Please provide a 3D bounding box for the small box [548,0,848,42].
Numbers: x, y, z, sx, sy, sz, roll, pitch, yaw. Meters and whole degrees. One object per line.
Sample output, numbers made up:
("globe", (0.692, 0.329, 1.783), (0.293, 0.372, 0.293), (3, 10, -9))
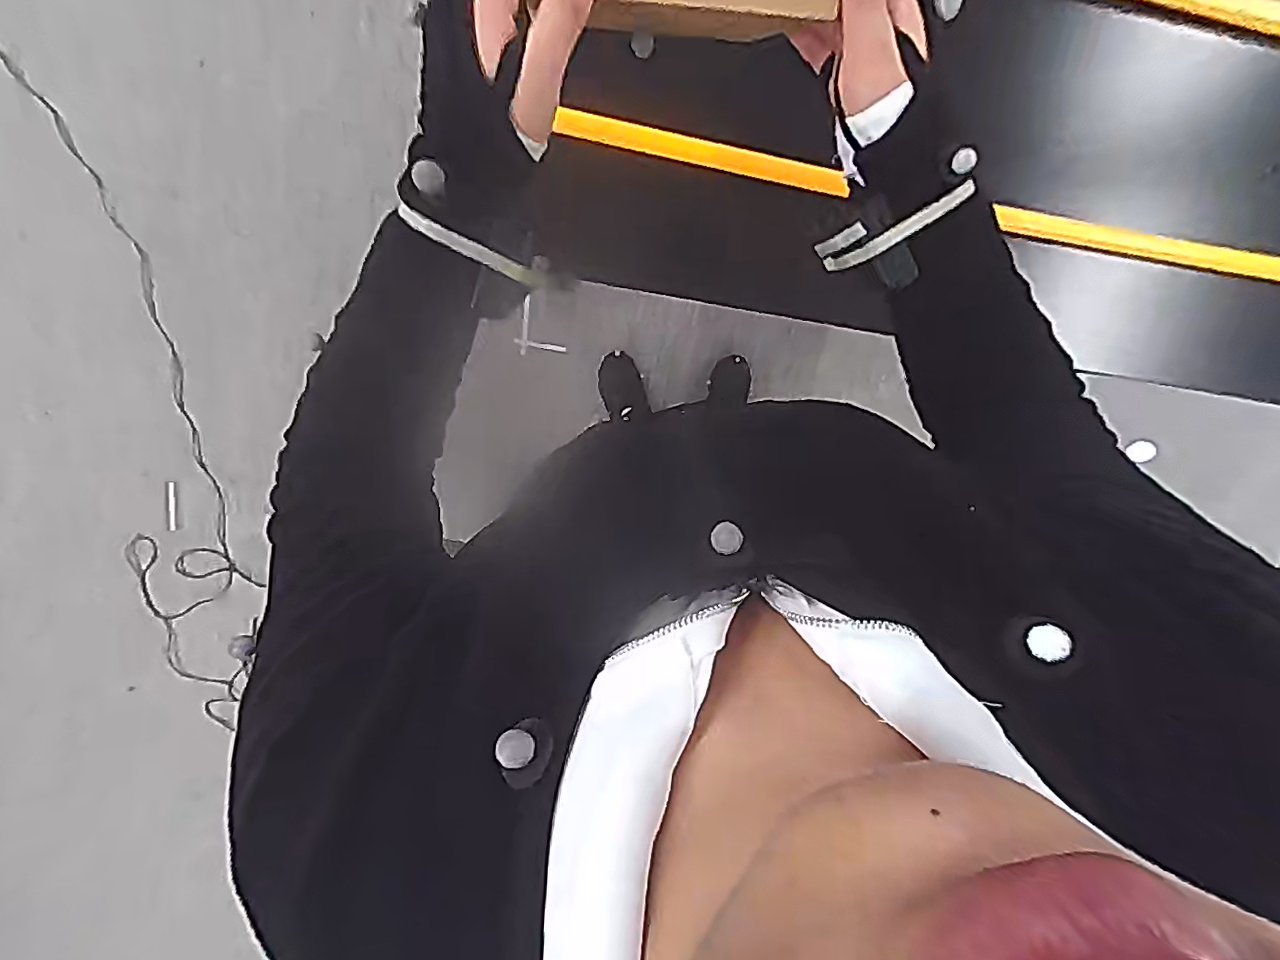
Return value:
("small box", (0.024, -0.360, 0.291), (0.168, 0.176, 0.179), (-1, 127, -8))
